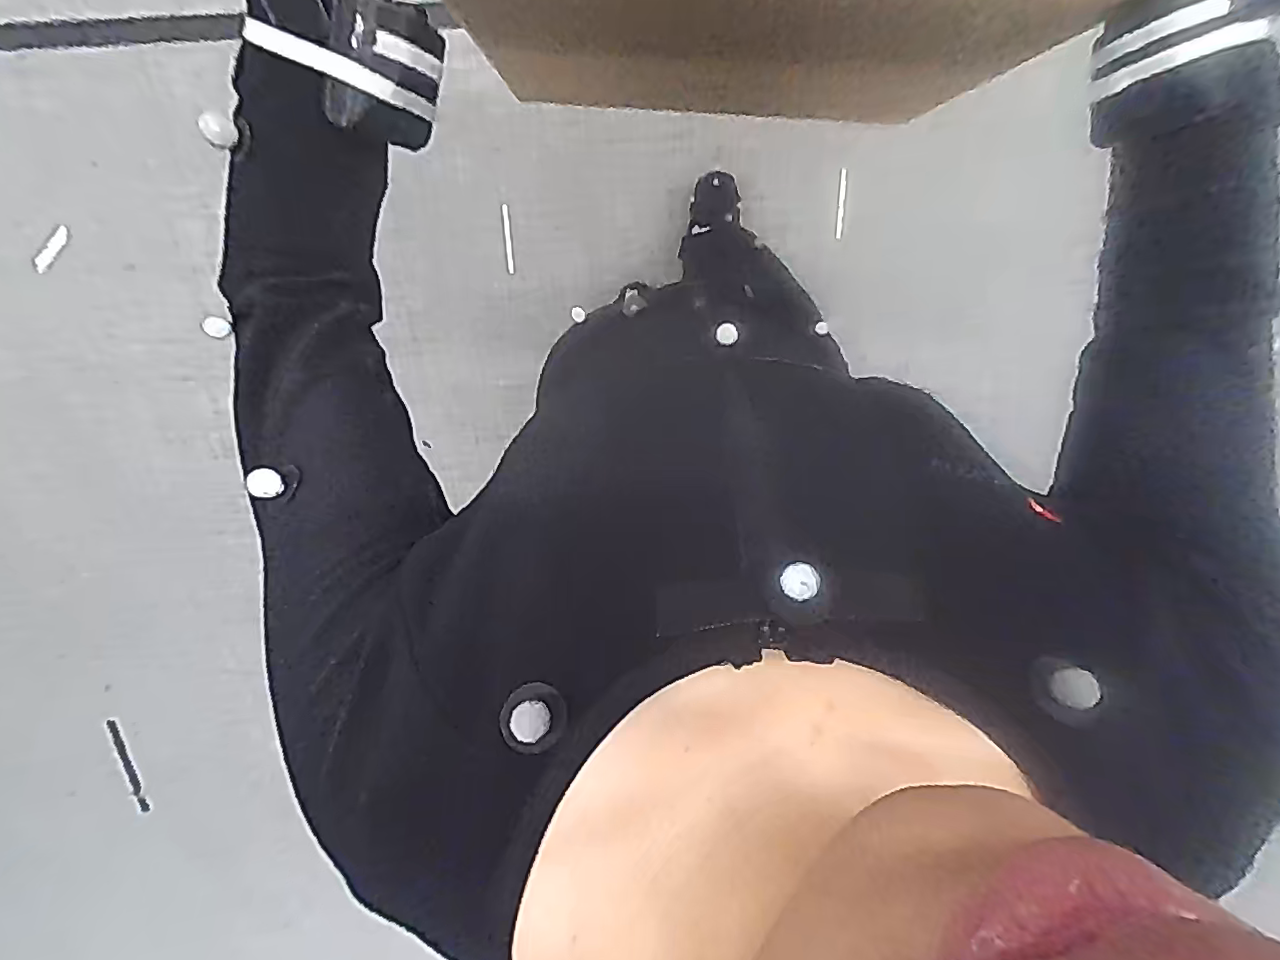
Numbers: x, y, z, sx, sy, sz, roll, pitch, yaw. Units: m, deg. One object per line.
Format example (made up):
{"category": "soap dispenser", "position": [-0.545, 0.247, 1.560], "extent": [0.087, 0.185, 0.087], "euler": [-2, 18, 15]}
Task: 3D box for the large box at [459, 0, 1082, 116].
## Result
{"category": "large box", "position": [0.079, -0.471, 0.368], "extent": [0.408, 0.320, 0.320], "euler": [2, 112, -2]}
